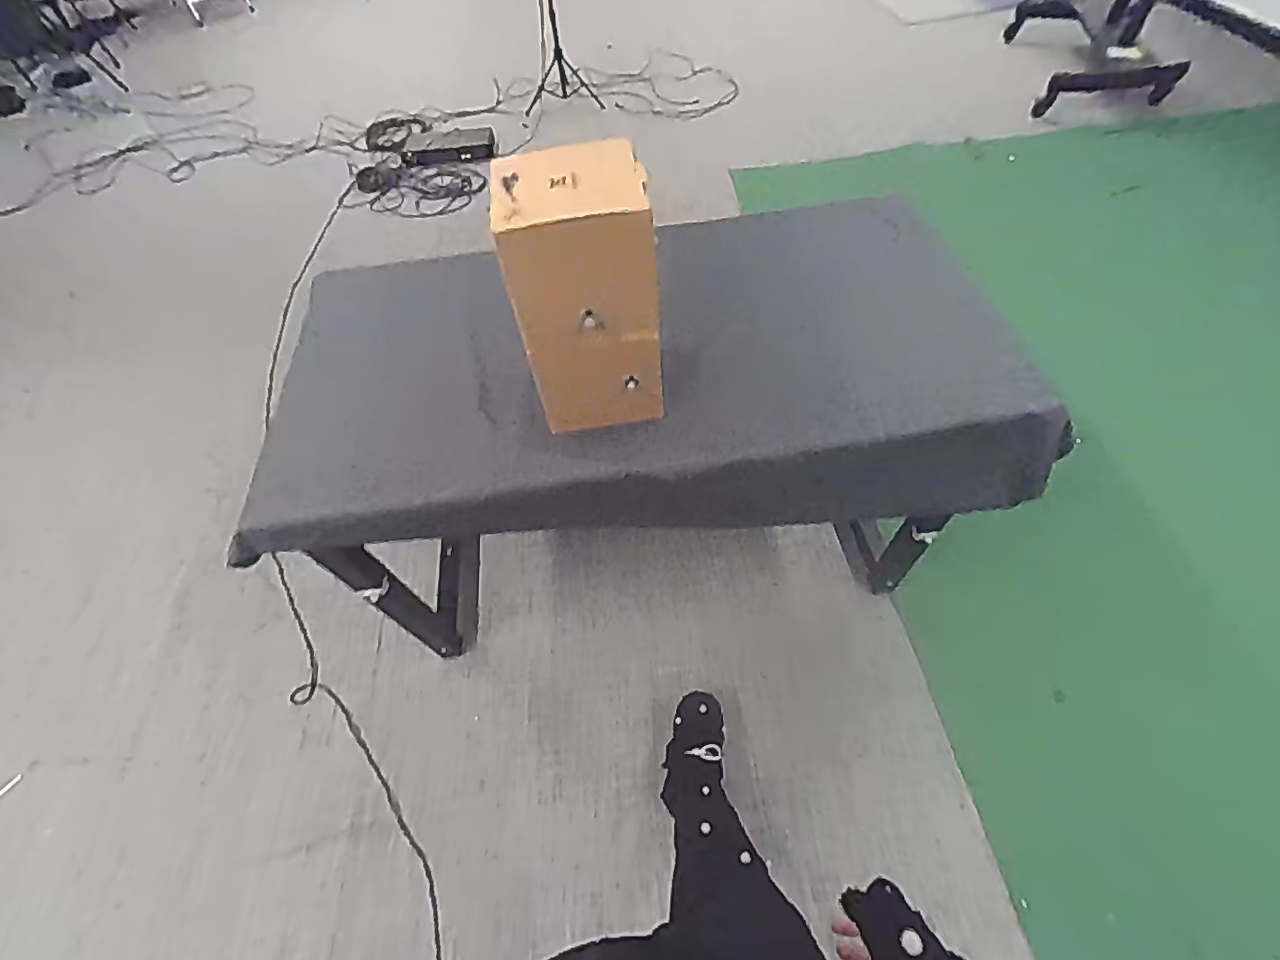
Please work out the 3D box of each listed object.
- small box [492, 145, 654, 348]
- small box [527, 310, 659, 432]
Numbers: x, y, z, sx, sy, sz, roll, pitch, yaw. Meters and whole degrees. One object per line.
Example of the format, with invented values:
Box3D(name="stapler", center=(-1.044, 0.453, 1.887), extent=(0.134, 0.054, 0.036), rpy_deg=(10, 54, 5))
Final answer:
Box3D(name="small box", center=(-0.079, -0.291, 0.685), extent=(0.179, 0.176, 0.168), rpy_deg=(-9, 55, -3))
Box3D(name="small box", center=(-0.067, -0.194, 0.817), extent=(0.179, 0.176, 0.168), rpy_deg=(-9, 55, -1))
